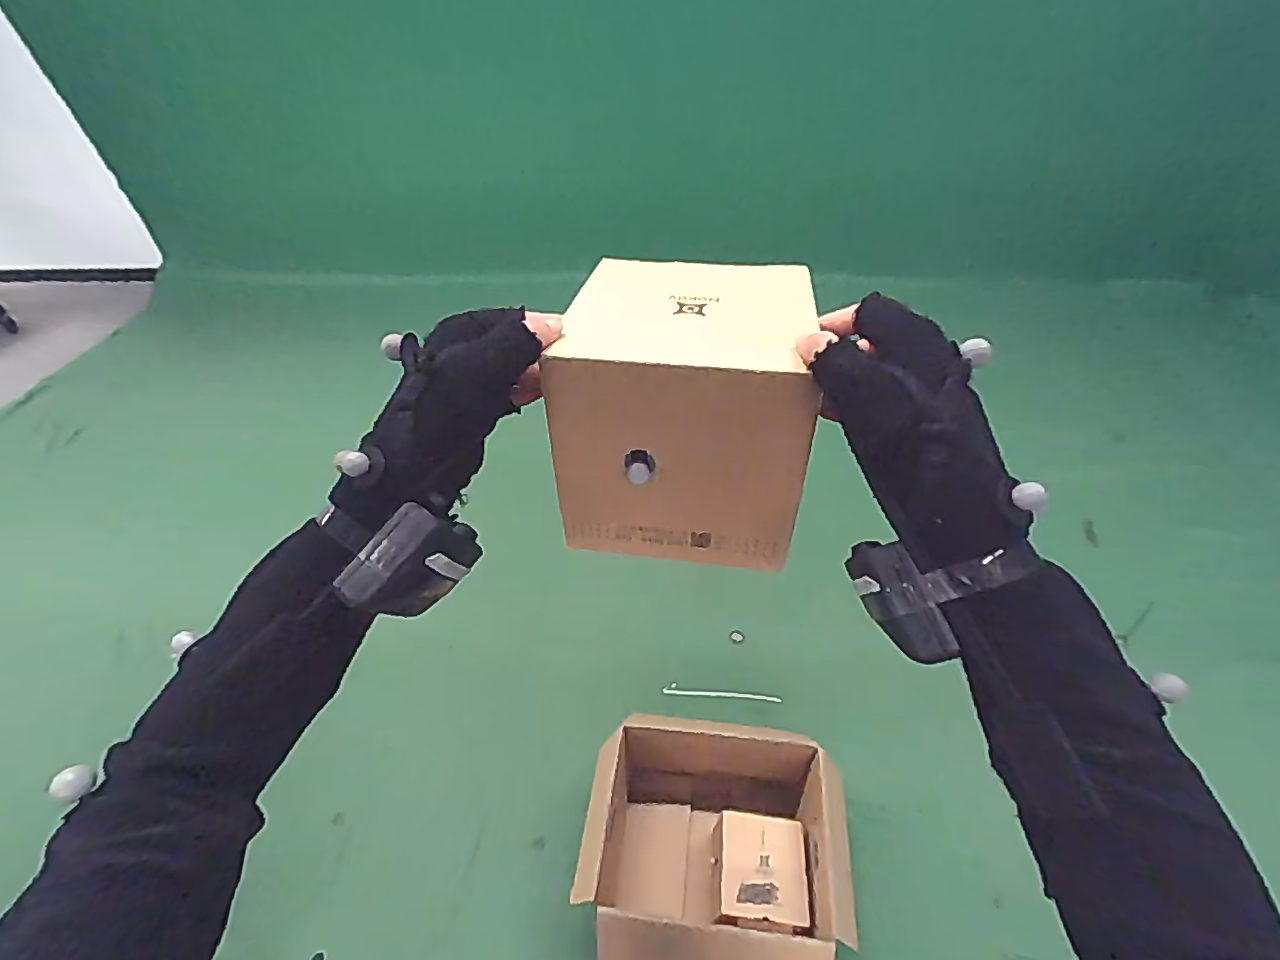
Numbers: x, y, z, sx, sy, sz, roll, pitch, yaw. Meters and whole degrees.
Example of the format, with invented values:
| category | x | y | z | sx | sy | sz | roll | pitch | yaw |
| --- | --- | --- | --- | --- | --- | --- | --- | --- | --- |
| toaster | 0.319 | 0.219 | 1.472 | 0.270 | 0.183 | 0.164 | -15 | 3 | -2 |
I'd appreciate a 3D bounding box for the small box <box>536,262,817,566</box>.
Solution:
| category | x | y | z | sx | sy | sz | roll | pitch | yaw |
| --- | --- | --- | --- | --- | --- | --- | --- | --- | --- |
| small box | 0.034 | -0.055 | 0.418 | 0.168 | 0.176 | 0.179 | 5 | 40 | 8 |
